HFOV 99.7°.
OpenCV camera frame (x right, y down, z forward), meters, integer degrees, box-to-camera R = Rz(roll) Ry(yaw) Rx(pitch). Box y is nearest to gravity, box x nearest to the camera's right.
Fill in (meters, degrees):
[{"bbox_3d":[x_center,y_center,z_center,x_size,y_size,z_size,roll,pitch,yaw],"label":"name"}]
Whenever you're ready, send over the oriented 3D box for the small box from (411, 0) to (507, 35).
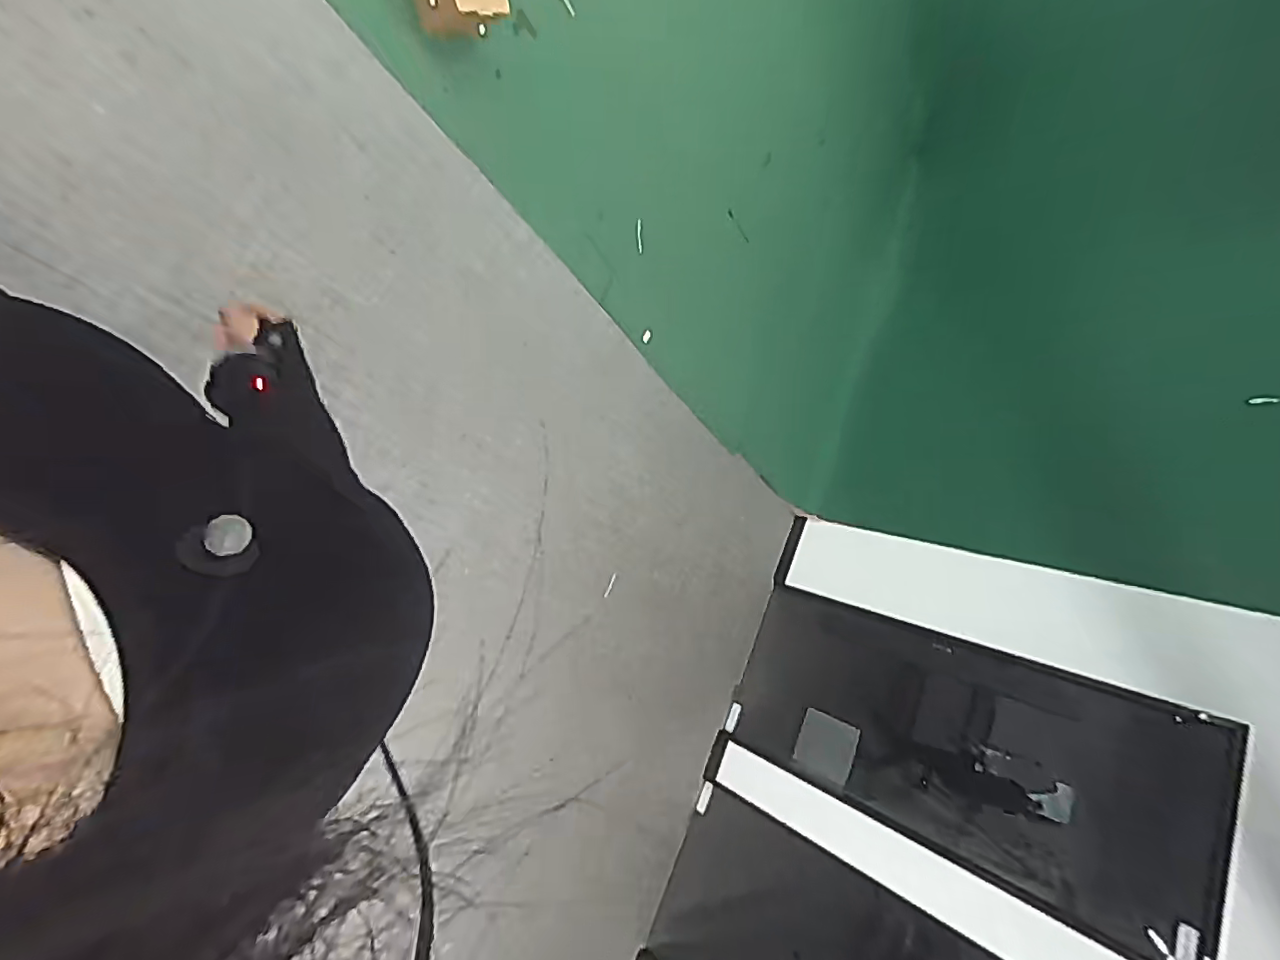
[{"bbox_3d":[-0.467,-1.239,1.343,0.168,0.176,0.179,-38,126,-38],"label":"small box"}]
